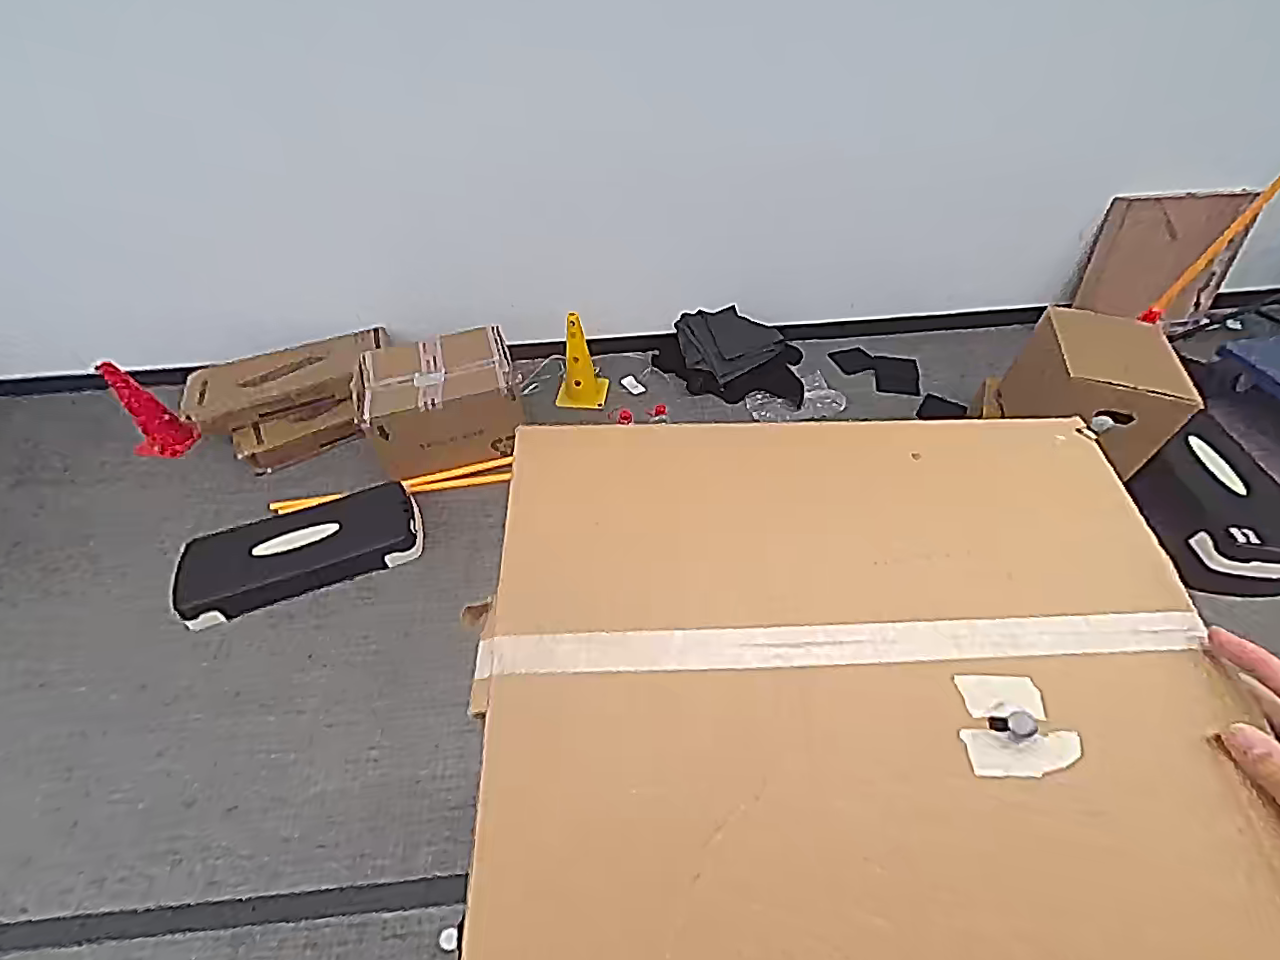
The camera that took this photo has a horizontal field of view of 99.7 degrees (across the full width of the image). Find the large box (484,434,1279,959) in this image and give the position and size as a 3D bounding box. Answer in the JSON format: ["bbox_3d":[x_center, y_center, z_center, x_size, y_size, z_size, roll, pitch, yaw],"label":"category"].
[{"bbox_3d":[0.115,0.180,0.439,0.408,0.320,0.320,-1,59,-3],"label":"large box"}]
